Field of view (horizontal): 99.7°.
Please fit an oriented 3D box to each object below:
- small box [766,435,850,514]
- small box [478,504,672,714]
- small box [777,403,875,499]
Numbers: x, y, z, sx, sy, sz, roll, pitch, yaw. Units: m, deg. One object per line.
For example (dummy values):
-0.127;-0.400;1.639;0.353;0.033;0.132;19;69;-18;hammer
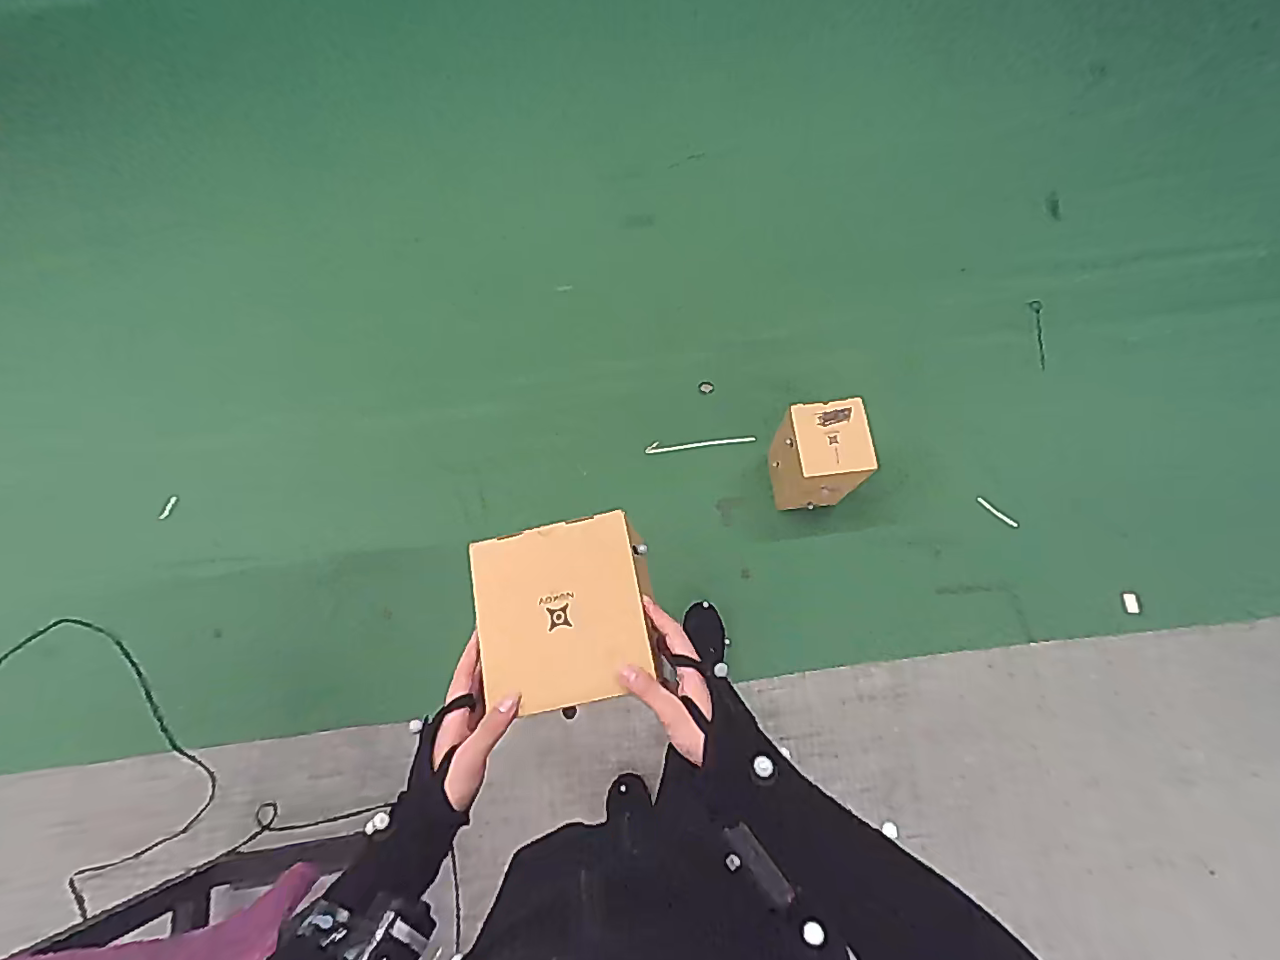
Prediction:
0.441;-0.018;1.449;0.168;0.176;0.179;-6;74;2;small box
-0.063;0.144;0.601;0.168;0.176;0.179;-13;71;1;small box
0.434;-0.065;1.292;0.168;0.176;0.179;-6;74;1;small box
